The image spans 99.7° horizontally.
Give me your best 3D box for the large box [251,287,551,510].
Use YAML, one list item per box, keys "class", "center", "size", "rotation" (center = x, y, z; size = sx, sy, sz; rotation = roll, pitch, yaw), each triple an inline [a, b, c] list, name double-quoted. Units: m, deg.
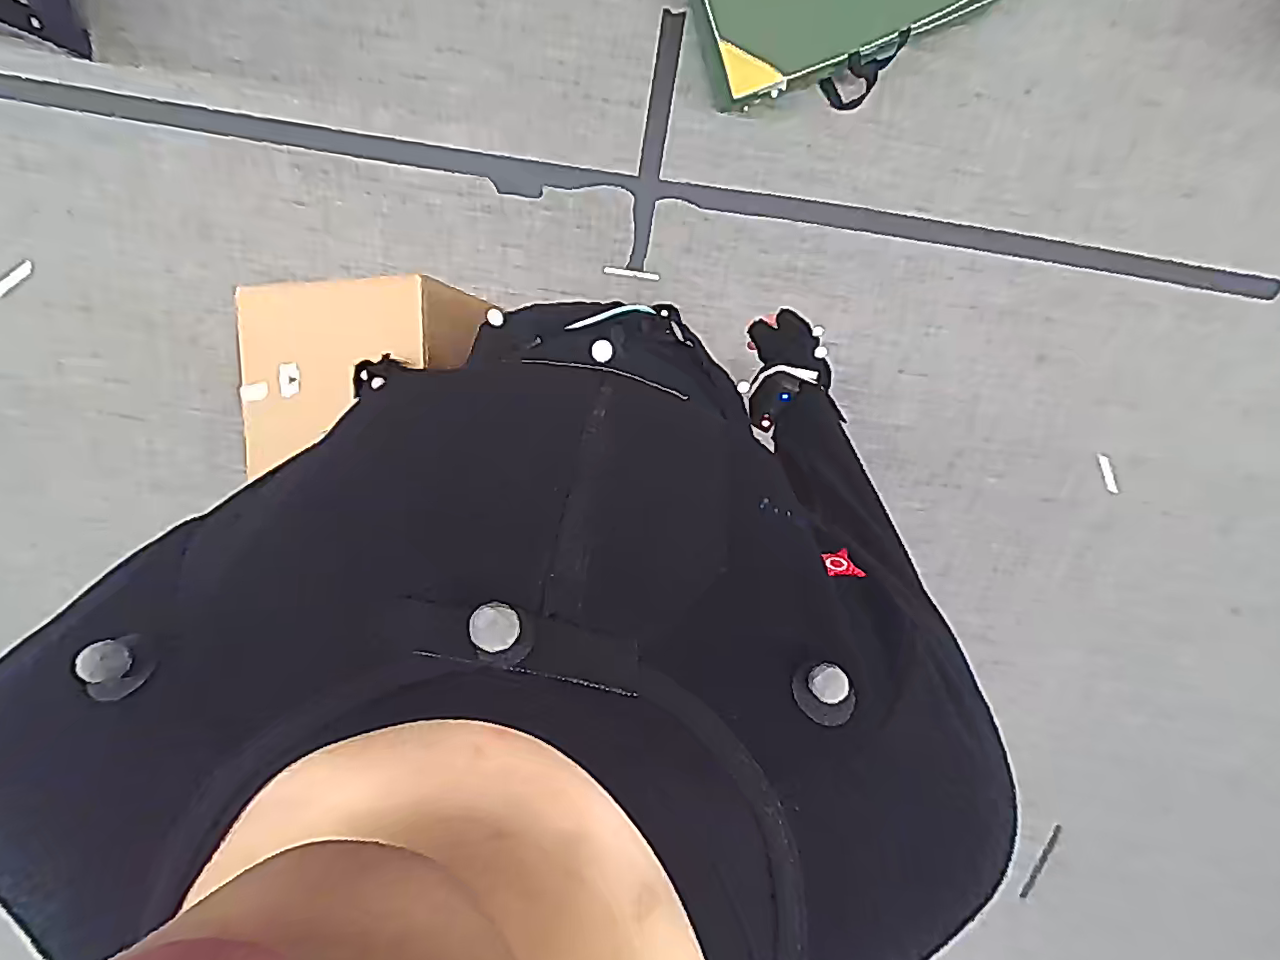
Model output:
- class: "large box"
  center: [-0.382, -0.141, 0.961]
  size: [0.320, 0.408, 0.320]
  rotation: [4, 97, 13]
